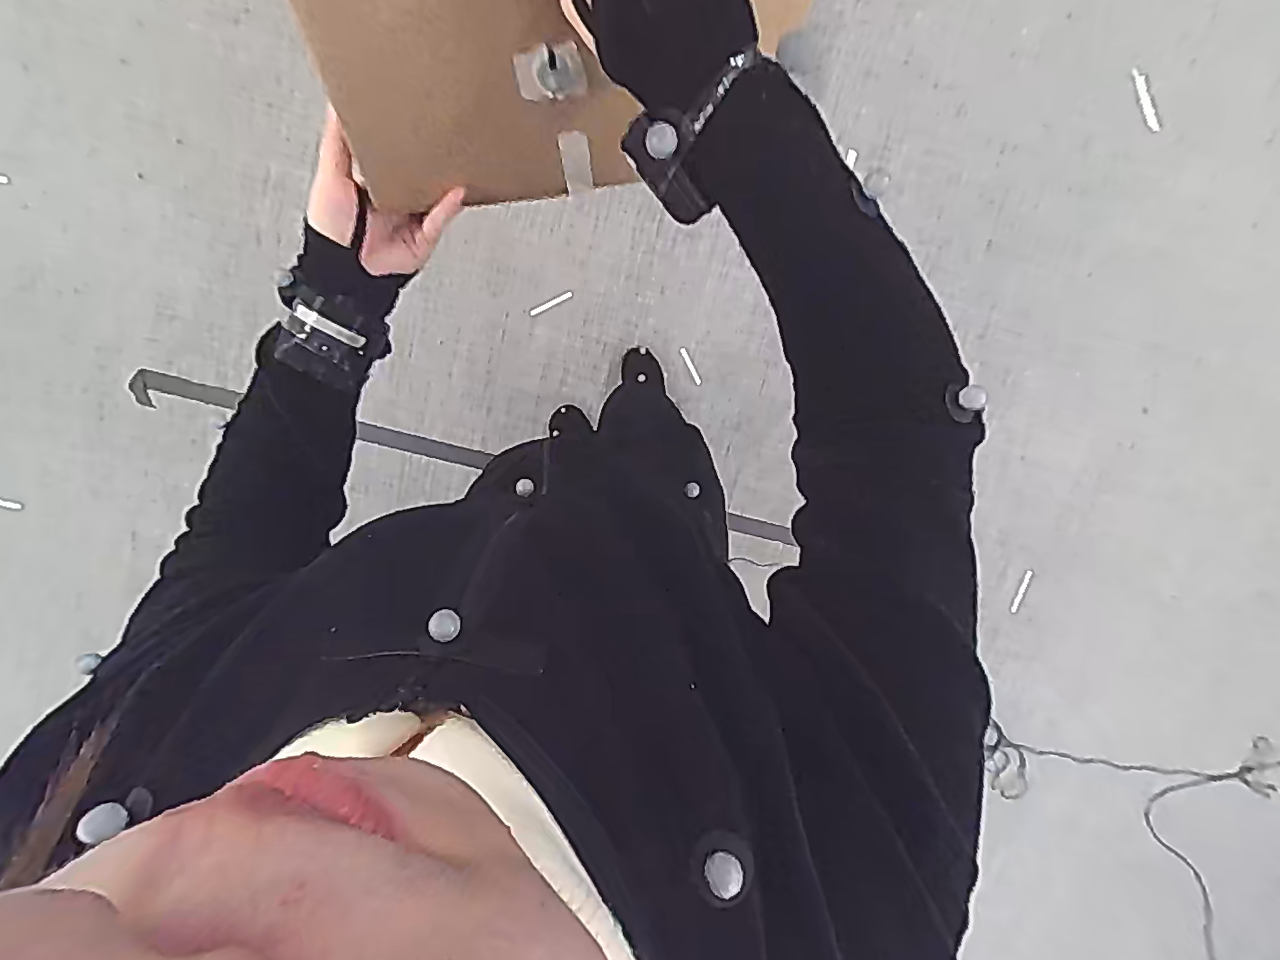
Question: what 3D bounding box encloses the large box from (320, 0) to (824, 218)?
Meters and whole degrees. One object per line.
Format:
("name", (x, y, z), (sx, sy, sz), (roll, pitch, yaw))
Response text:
("large box", (-0.078, -0.456, 0.360), (0.320, 0.320, 0.408), (-13, 68, -12))
